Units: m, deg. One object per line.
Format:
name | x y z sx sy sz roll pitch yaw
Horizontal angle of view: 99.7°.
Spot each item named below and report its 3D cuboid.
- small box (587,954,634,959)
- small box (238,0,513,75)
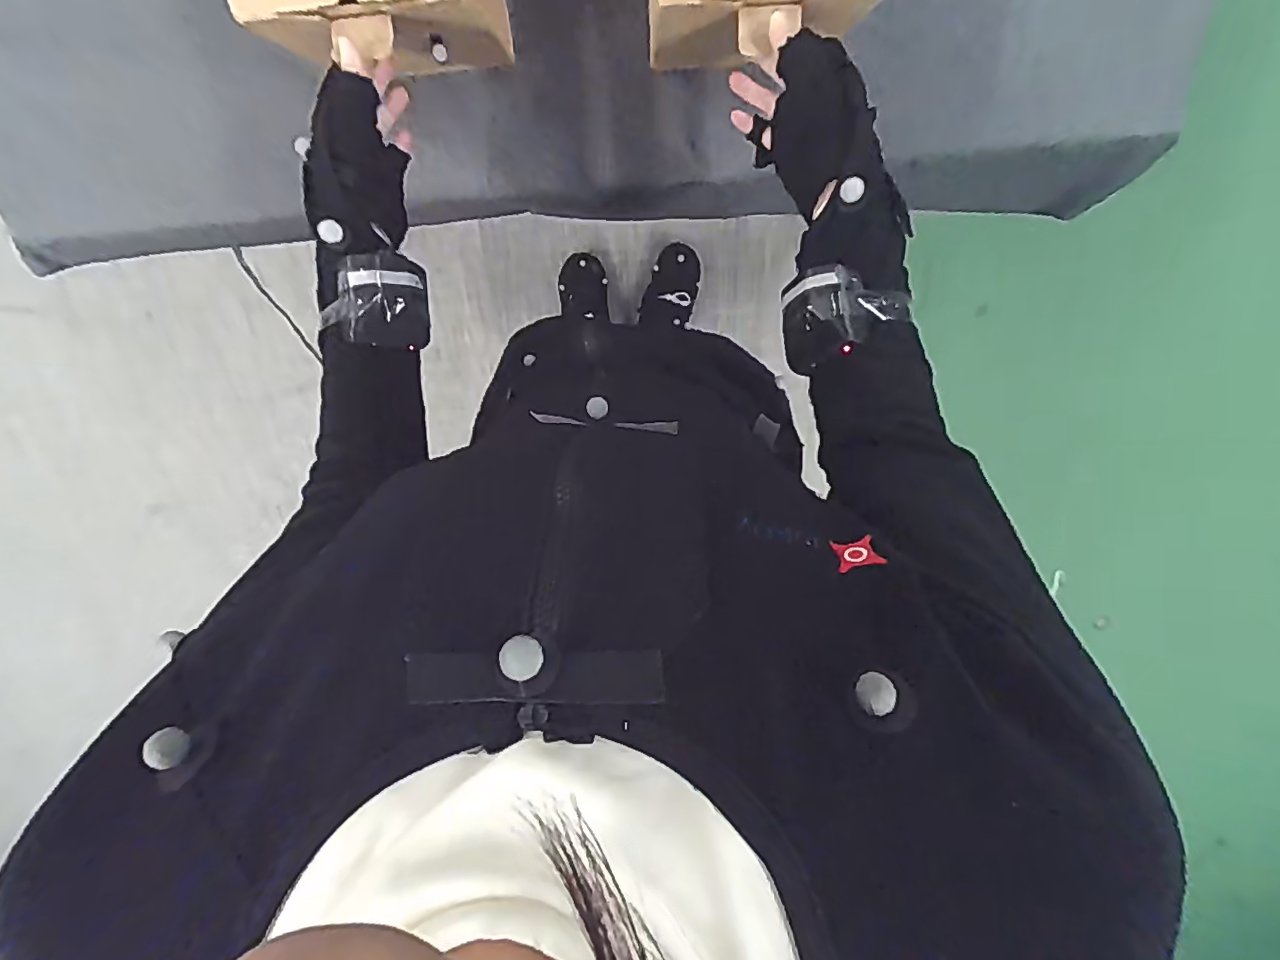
small box | -0.114 1.814 1.902 0.179 0.176 0.168 2 111 0
small box | -0.207 -0.440 0.417 0.168 0.176 0.179 -6 113 2
